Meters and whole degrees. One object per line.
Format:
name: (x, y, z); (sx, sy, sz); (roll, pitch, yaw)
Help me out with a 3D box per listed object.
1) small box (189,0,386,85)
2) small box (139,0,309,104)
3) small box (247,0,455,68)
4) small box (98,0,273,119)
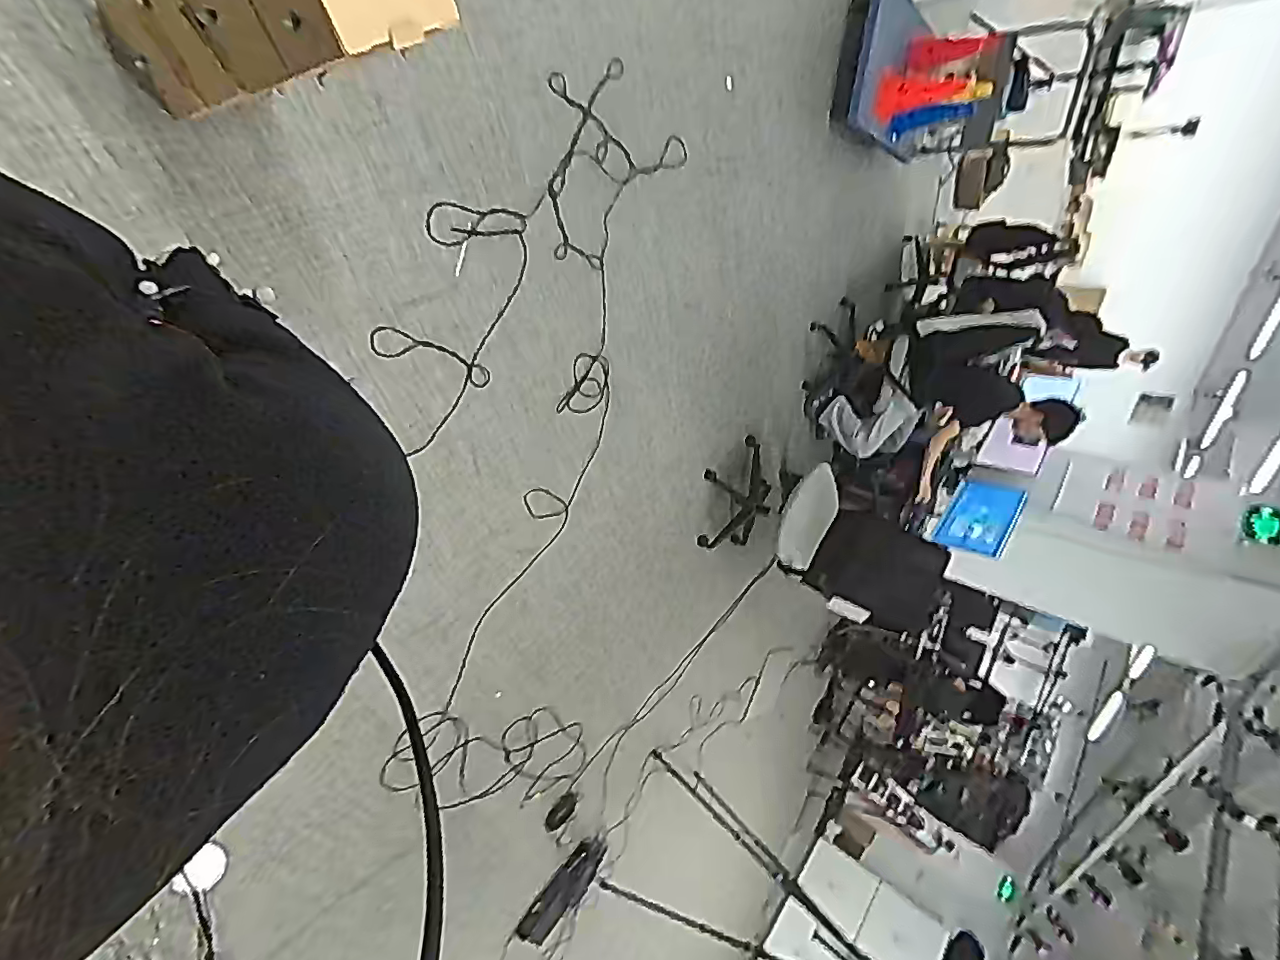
small box: (-0.481, -0.648, 0.714); (0.168, 0.176, 0.179); (-47, 138, -28)
small box: (-0.607, -0.690, 0.810); (0.179, 0.176, 0.168); (-48, 138, -29)
small box: (-0.356, -0.602, 0.620); (0.168, 0.176, 0.179); (-47, 137, -29)
small box: (-0.739, -0.729, 0.901); (0.179, 0.176, 0.168); (-47, 137, -27)
